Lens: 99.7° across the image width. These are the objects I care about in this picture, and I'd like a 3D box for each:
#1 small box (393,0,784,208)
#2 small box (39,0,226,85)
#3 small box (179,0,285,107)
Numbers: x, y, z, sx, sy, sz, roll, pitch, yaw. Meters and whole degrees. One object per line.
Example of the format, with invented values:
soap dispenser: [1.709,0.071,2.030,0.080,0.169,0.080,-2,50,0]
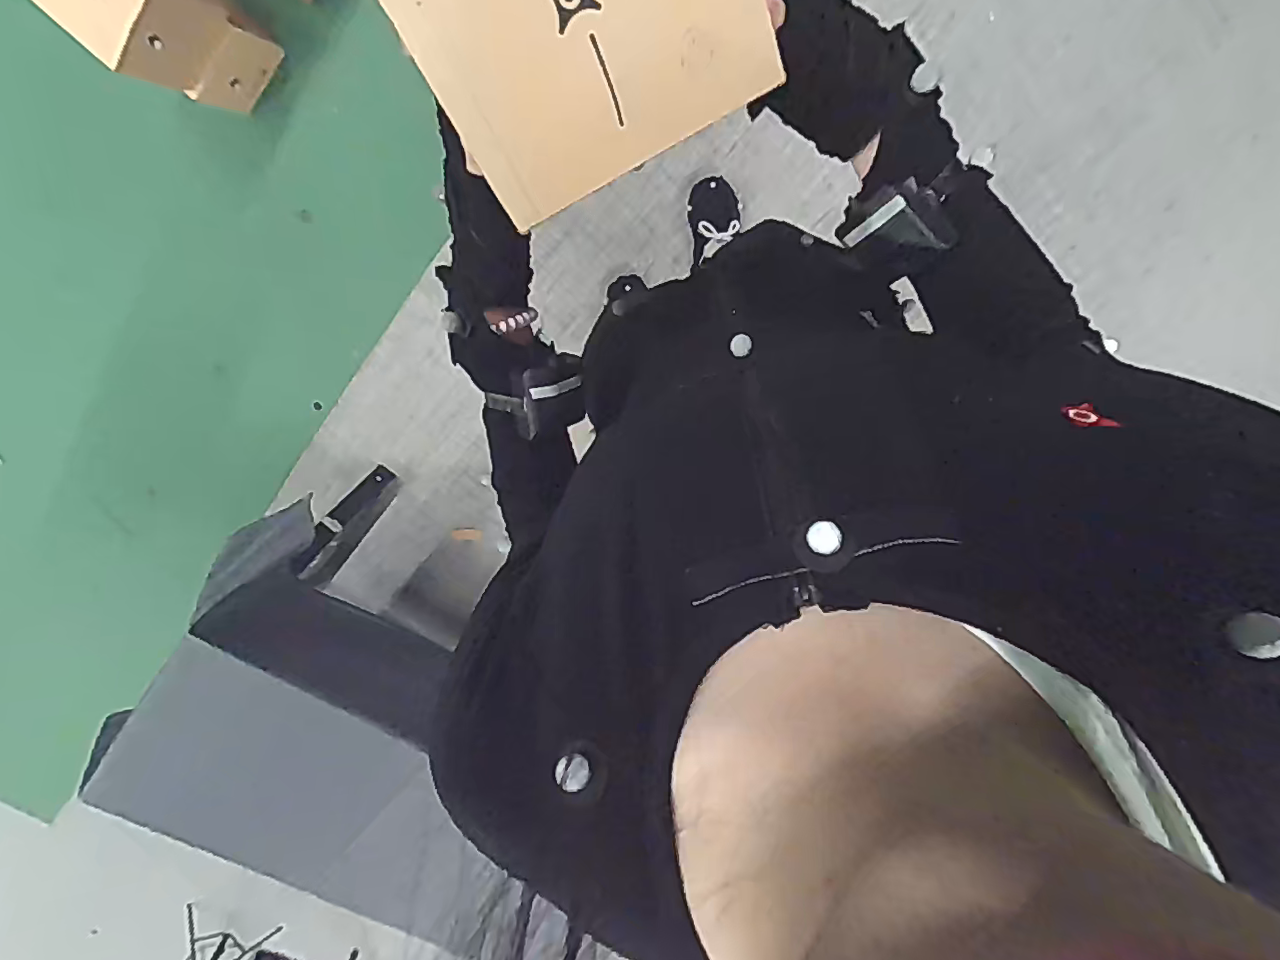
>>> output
small box: [-0.040,-0.292,0.308,0.168,0.176,0.179,-22,126,14]
small box: [-0.866,-0.825,0.922,0.179,0.176,0.168,-41,108,18]
small box: [-0.862,-0.884,1.076,0.168,0.176,0.179,-40,108,18]
